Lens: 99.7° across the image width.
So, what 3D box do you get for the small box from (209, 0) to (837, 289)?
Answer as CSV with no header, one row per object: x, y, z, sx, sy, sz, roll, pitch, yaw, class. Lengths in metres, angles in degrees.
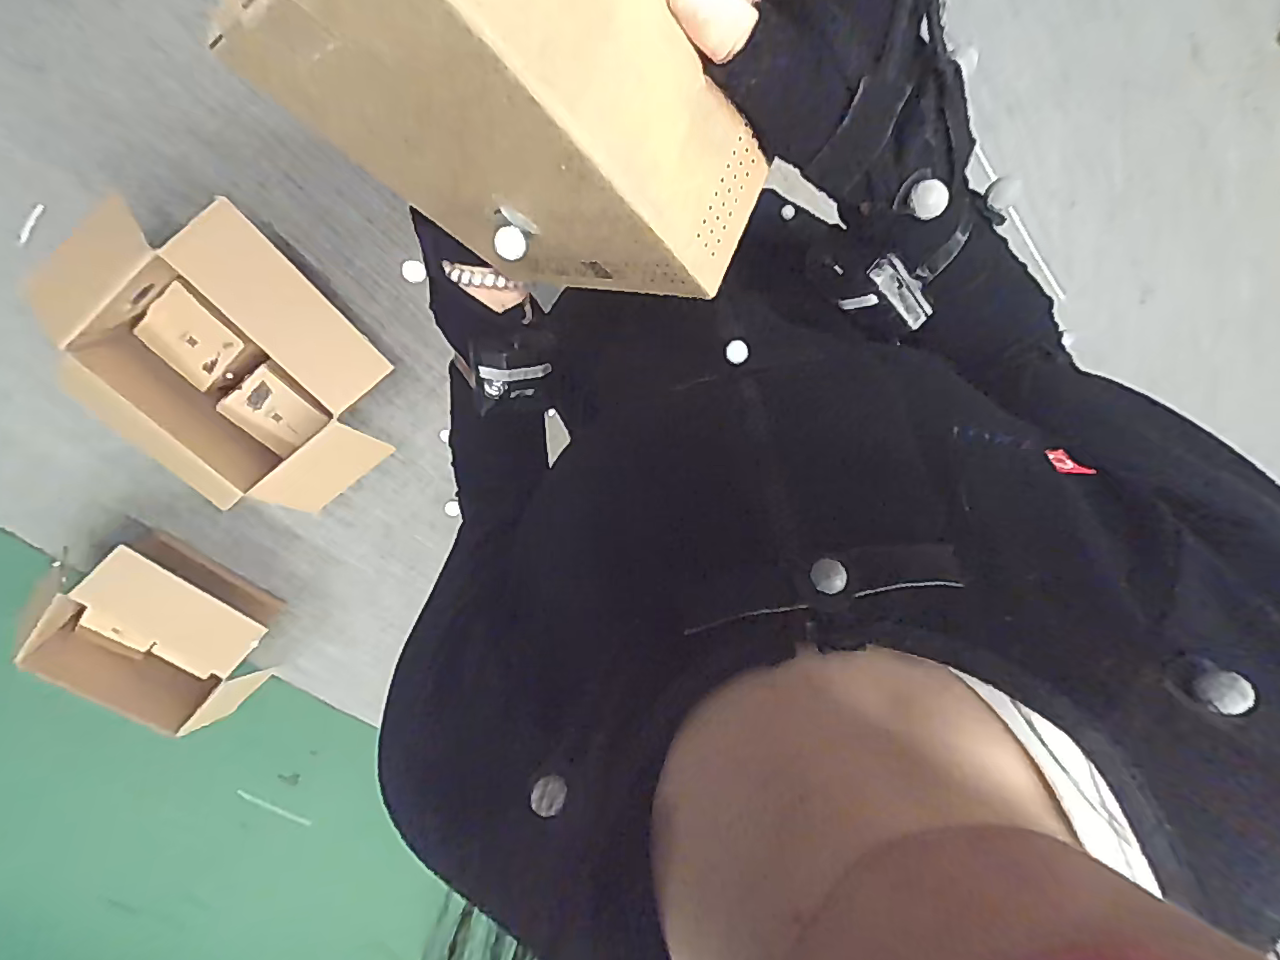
-0.035,-0.210,0.231,0.176,0.168,0.179,24,88,-50,small box
